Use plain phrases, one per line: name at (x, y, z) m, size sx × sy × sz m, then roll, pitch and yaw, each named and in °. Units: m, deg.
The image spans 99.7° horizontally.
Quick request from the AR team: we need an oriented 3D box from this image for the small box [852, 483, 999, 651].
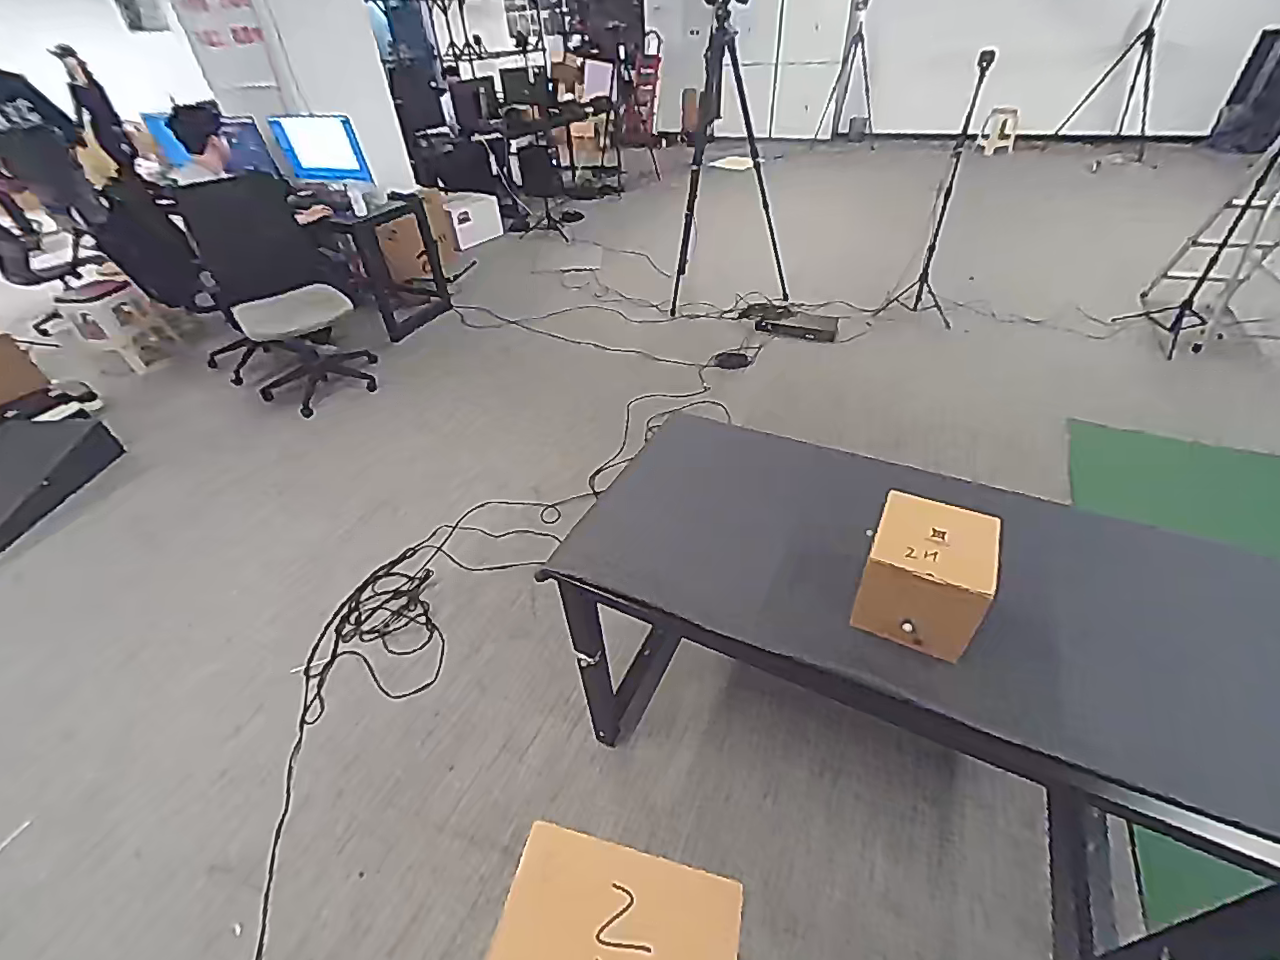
small box at (0.458, 0.138, 0.878) m, size 0.168 × 0.176 × 0.179 m, roll 17°, pitch 45°, yaw 24°
